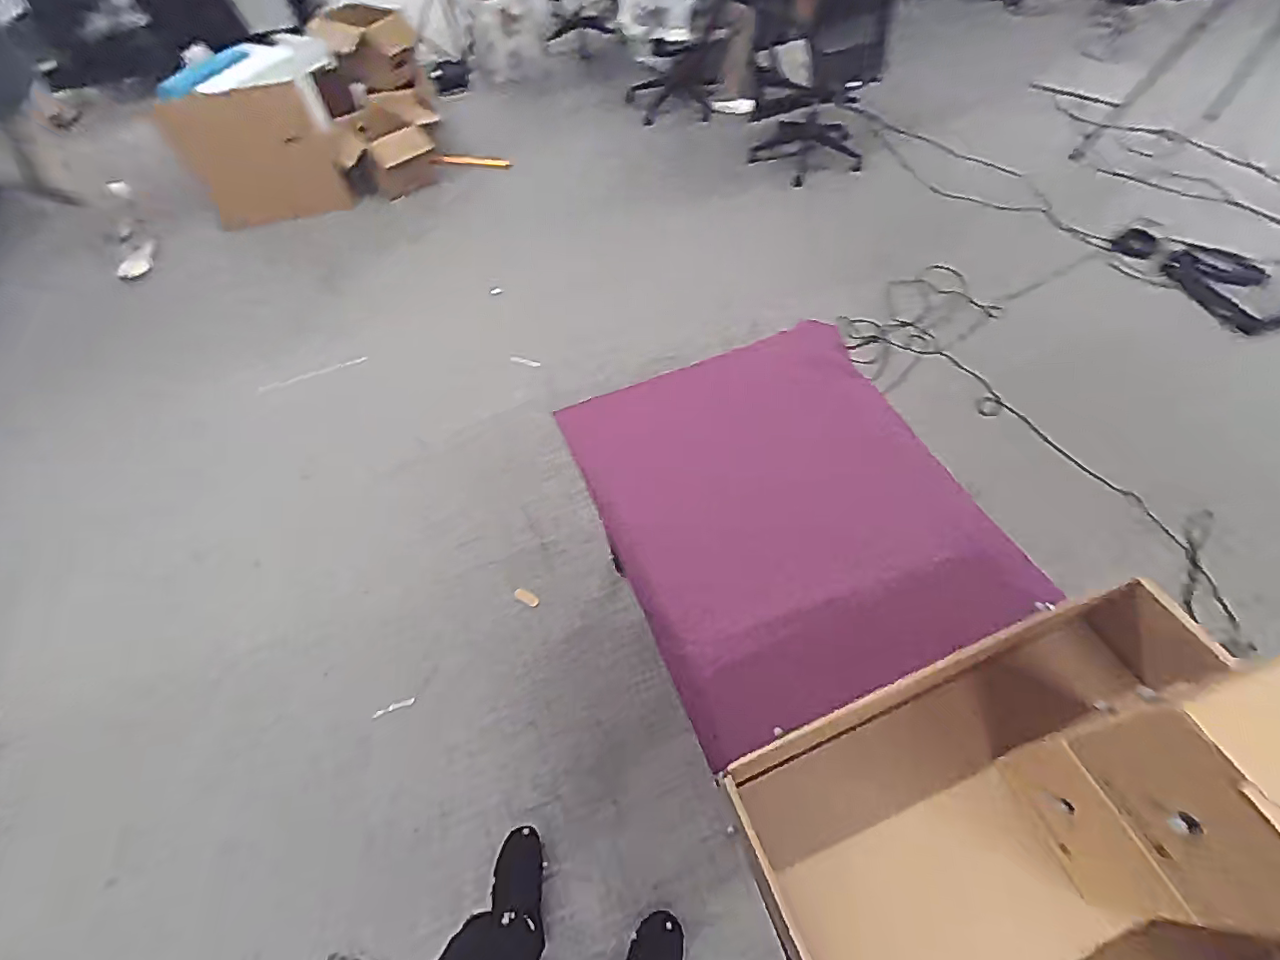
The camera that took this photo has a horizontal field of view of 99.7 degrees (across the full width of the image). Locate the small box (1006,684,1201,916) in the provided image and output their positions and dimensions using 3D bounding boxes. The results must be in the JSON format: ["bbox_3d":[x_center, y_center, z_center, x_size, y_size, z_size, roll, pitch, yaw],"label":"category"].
[{"bbox_3d":[0.563,0.362,0.615,0.179,0.176,0.168,-18,55,-8],"label":"small box"}]

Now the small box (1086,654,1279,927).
[{"bbox_3d":[0.554,0.270,0.480,0.179,0.176,0.168,-18,56,-7],"label":"small box"}]
